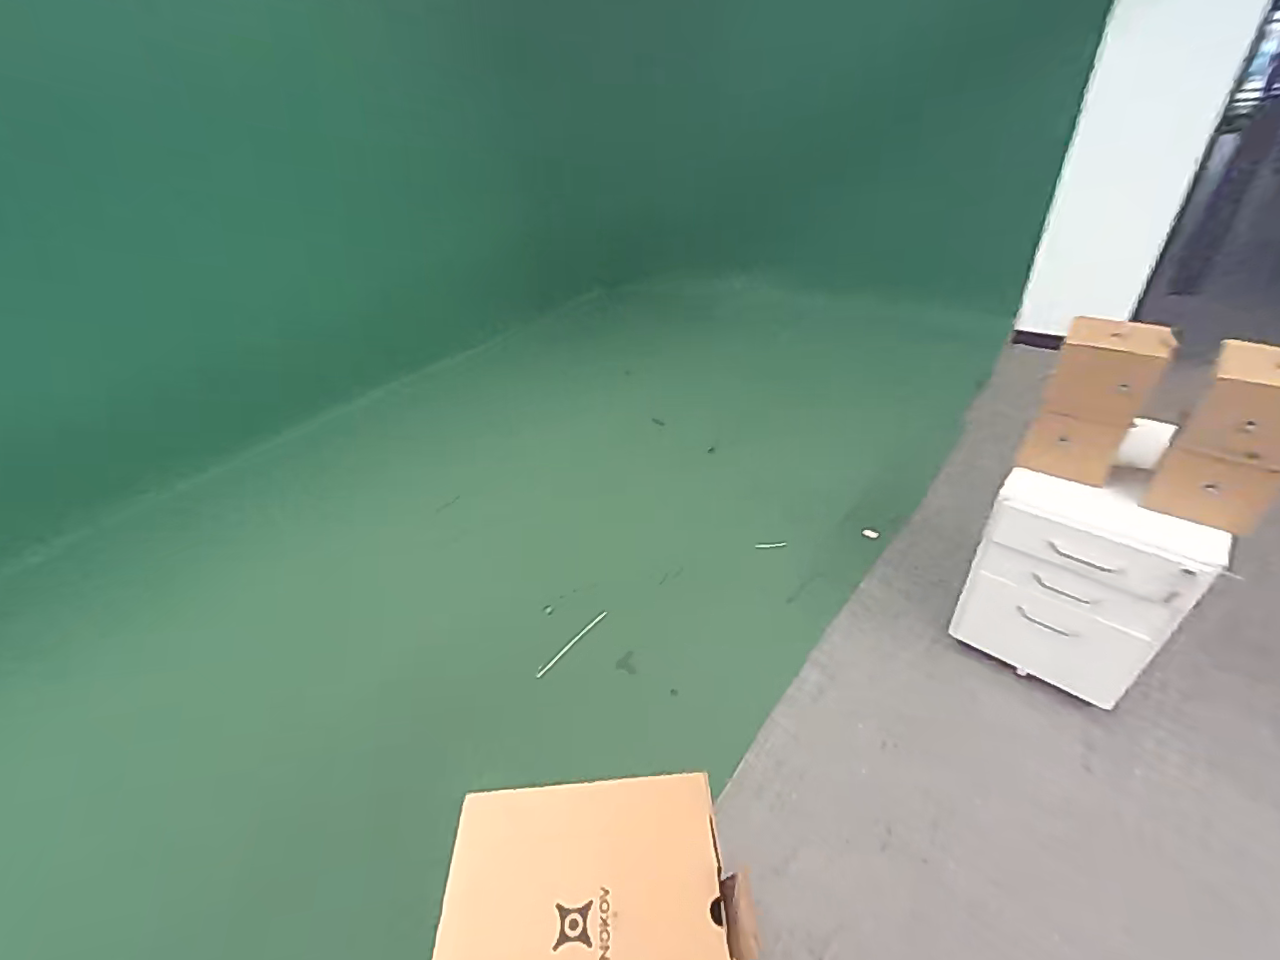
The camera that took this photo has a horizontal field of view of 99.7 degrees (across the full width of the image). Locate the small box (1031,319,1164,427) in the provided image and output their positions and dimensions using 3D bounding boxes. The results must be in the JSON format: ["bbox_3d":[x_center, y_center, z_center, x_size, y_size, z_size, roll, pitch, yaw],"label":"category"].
[{"bbox_3d":[1.018,-0.239,1.210,0.179,0.176,0.168,21,46,31],"label":"small box"}]

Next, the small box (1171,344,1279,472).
[{"bbox_3d":[1.182,-0.140,1.050,0.168,0.176,0.179,25,49,36],"label":"small box"}]

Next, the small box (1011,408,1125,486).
[{"bbox_3d":[1.034,-0.110,1.310,0.179,0.176,0.168,23,48,32],"label":"small box"}]

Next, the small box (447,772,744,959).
[{"bbox_3d":[-0.021,0.331,0.371,0.179,0.176,0.168,-5,35,0],"label":"small box"}]
